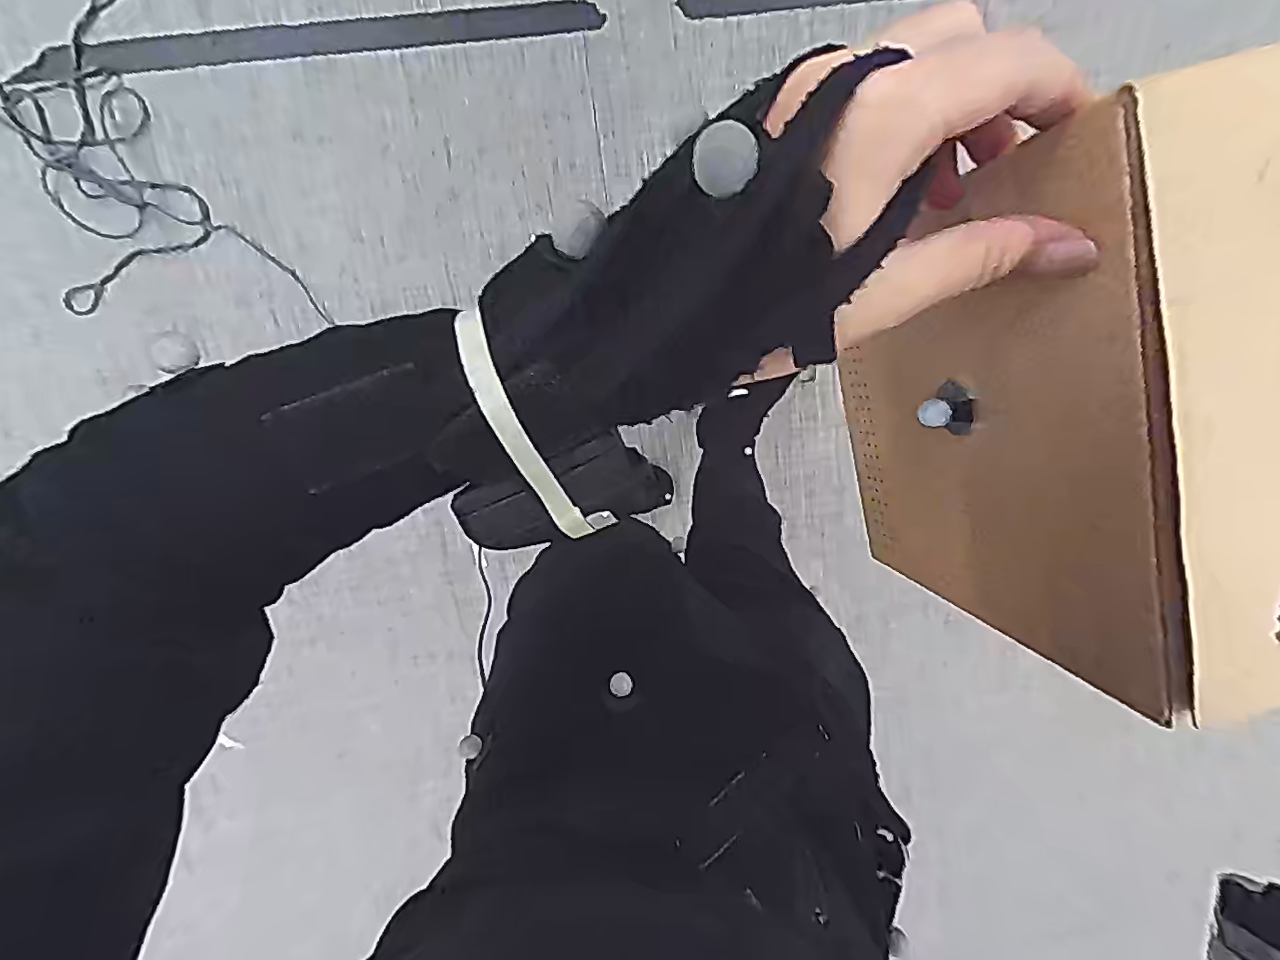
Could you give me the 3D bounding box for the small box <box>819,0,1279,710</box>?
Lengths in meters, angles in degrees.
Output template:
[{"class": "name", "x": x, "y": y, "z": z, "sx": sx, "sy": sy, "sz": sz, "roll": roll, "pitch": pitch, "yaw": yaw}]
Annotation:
[{"class": "small box", "x": 0.195, "y": -0.050, "z": 0.218, "sx": 0.168, "sy": 0.176, "sz": 0.179, "roll": -16, "pitch": 99, "yaw": -4}]
